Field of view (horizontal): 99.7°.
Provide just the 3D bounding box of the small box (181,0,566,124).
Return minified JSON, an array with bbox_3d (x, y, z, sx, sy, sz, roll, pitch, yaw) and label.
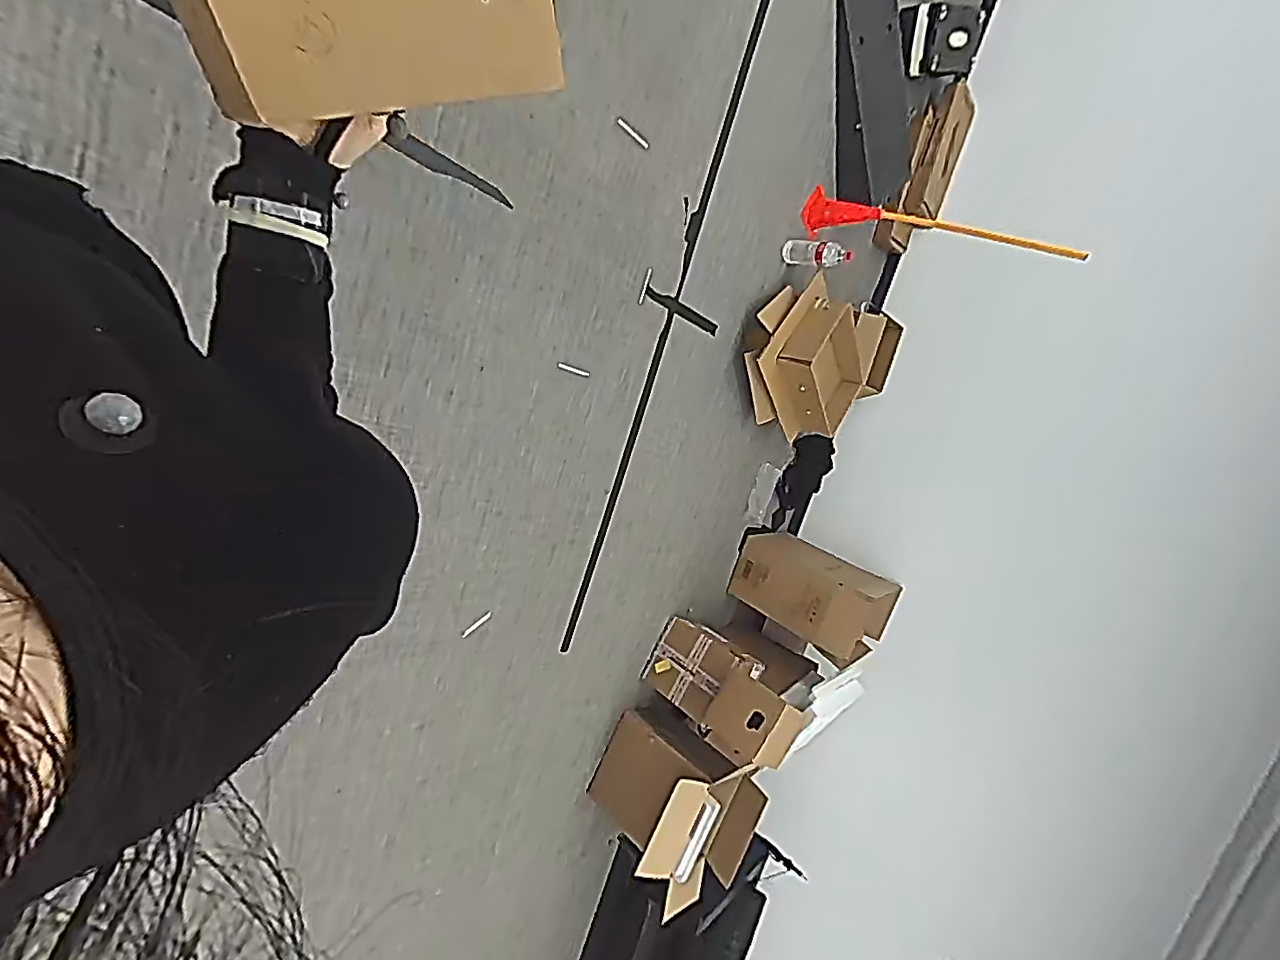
[{"bbox_3d":[-0.169,-0.308,0.306,0.179,0.176,0.168,-28,134,-26],"label":"small box"}]
